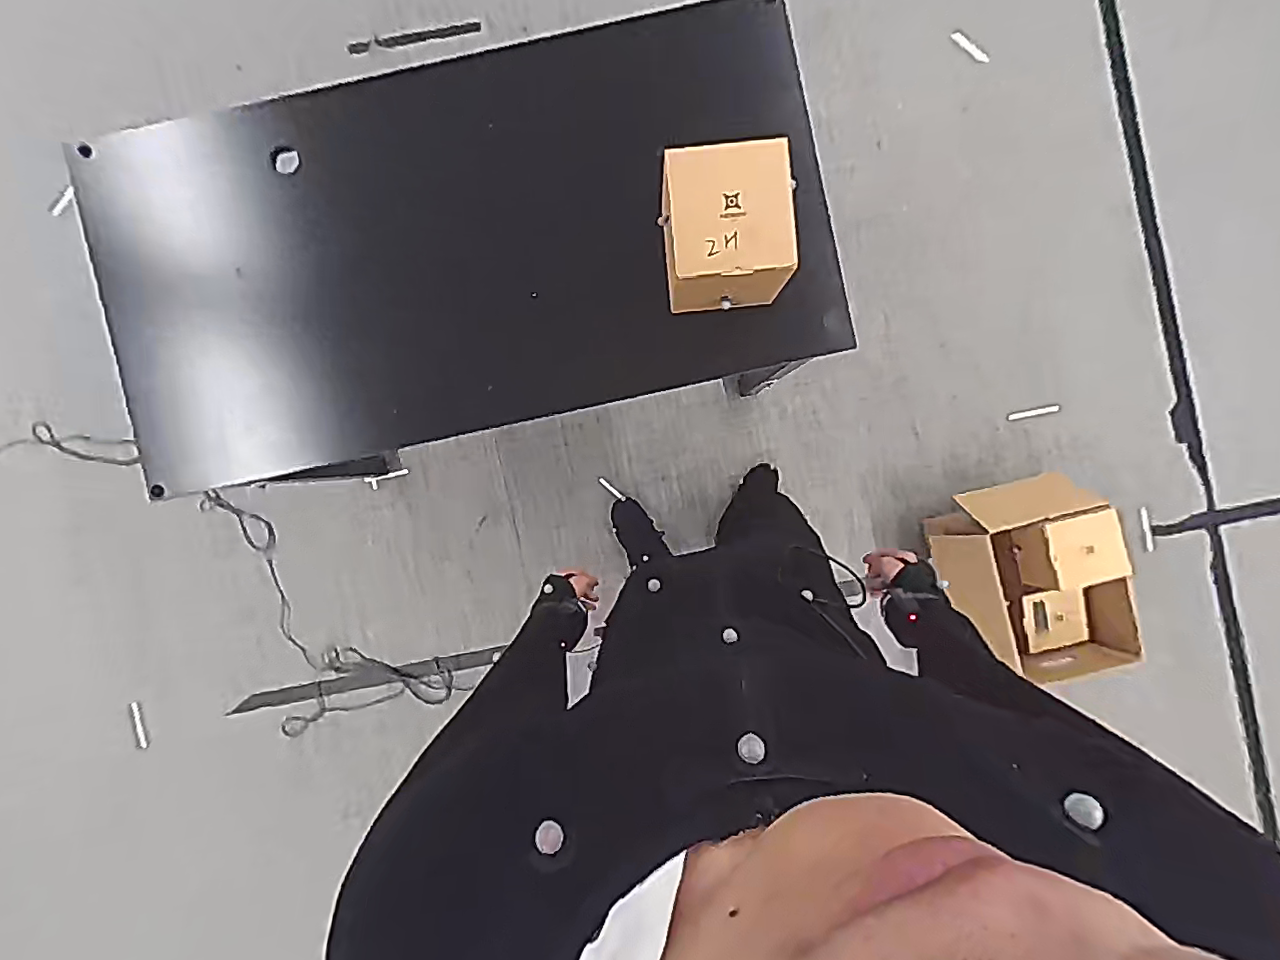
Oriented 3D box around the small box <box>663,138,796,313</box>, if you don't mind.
[{"bbox_3d":[0.122,-0.363,0.798,0.168,0.176,0.179,-5,92,1],"label":"small box"}]
